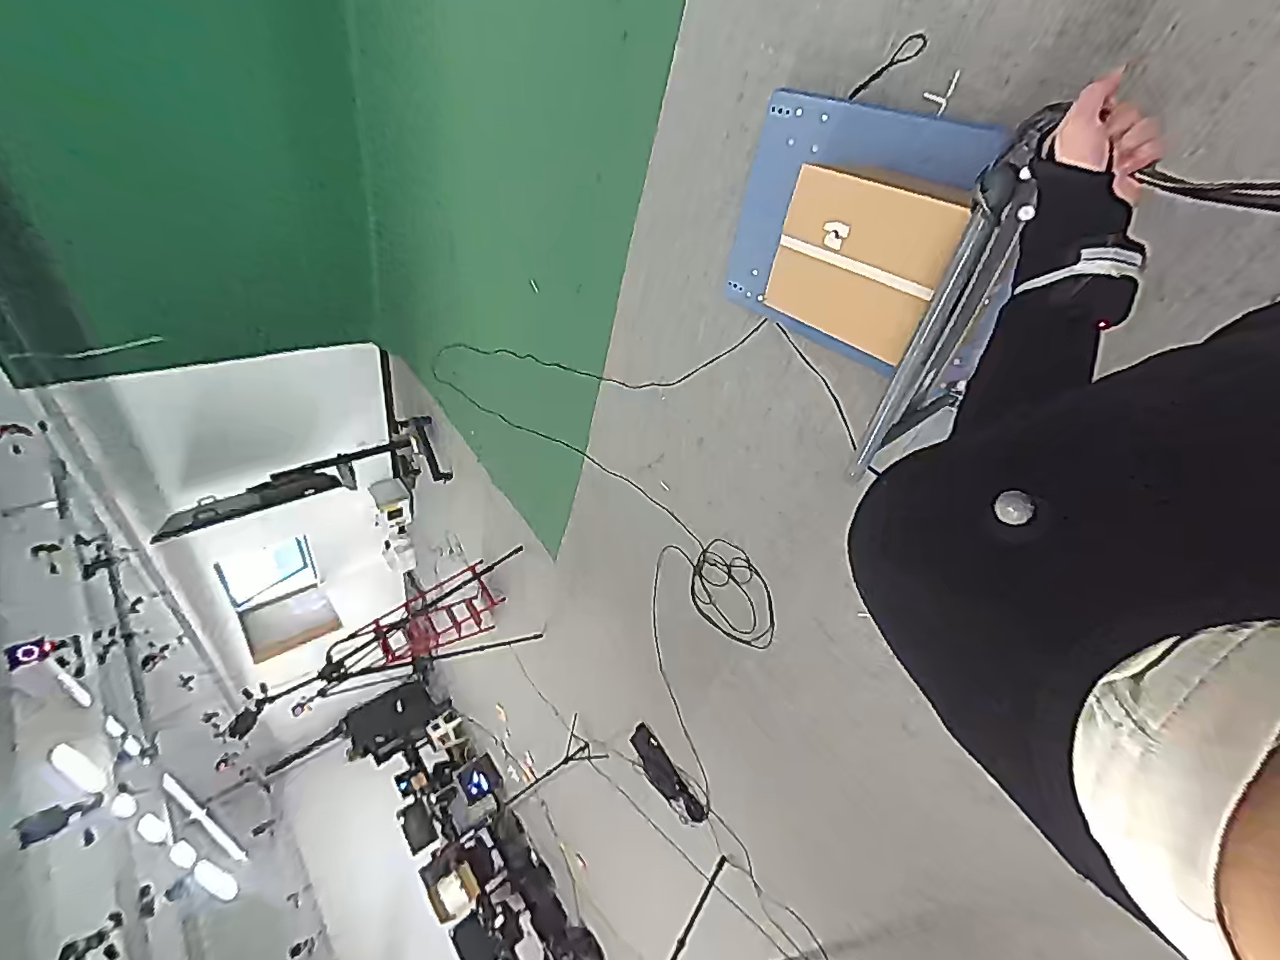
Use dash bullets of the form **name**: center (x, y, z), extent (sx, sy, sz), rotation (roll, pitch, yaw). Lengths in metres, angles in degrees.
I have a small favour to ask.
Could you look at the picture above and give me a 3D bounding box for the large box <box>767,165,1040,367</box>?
- **large box**: center (0.575, -0.501, 1.231), extent (0.408, 0.320, 0.320), rotation (41, 136, 34)
